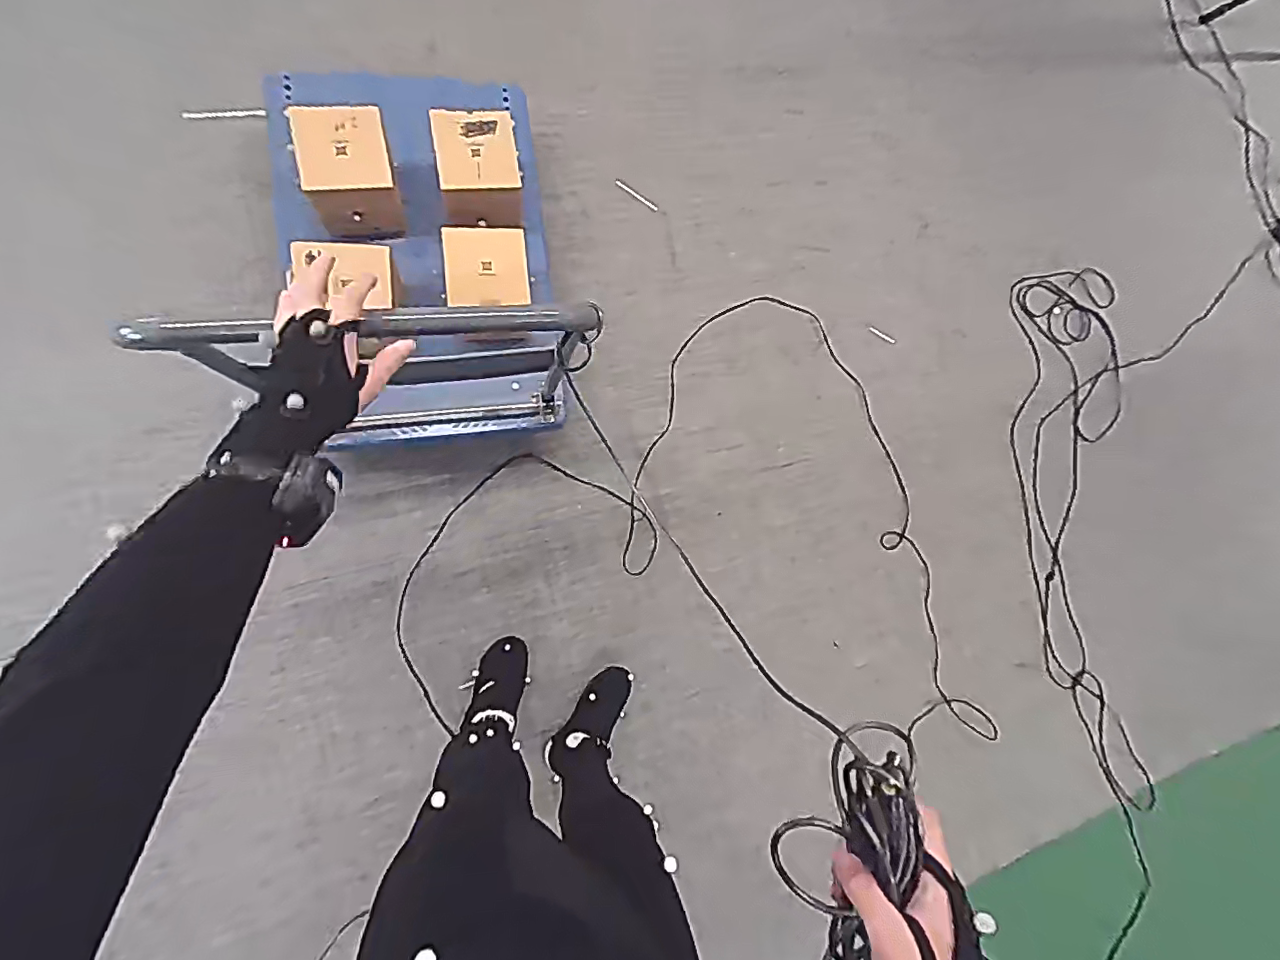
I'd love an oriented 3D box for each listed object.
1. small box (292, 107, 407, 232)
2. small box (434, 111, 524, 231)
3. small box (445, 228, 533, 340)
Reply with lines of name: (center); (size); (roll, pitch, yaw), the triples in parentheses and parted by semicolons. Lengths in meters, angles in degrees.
small box: (-0.600, -0.641, 1.137); (0.168, 0.176, 0.179); (-10, 86, -15)
small box: (-0.354, -0.675, 1.201); (0.168, 0.176, 0.179); (-8, 86, -14)
small box: (-0.328, -0.420, 1.180); (0.168, 0.176, 0.179); (-5, 86, -14)
